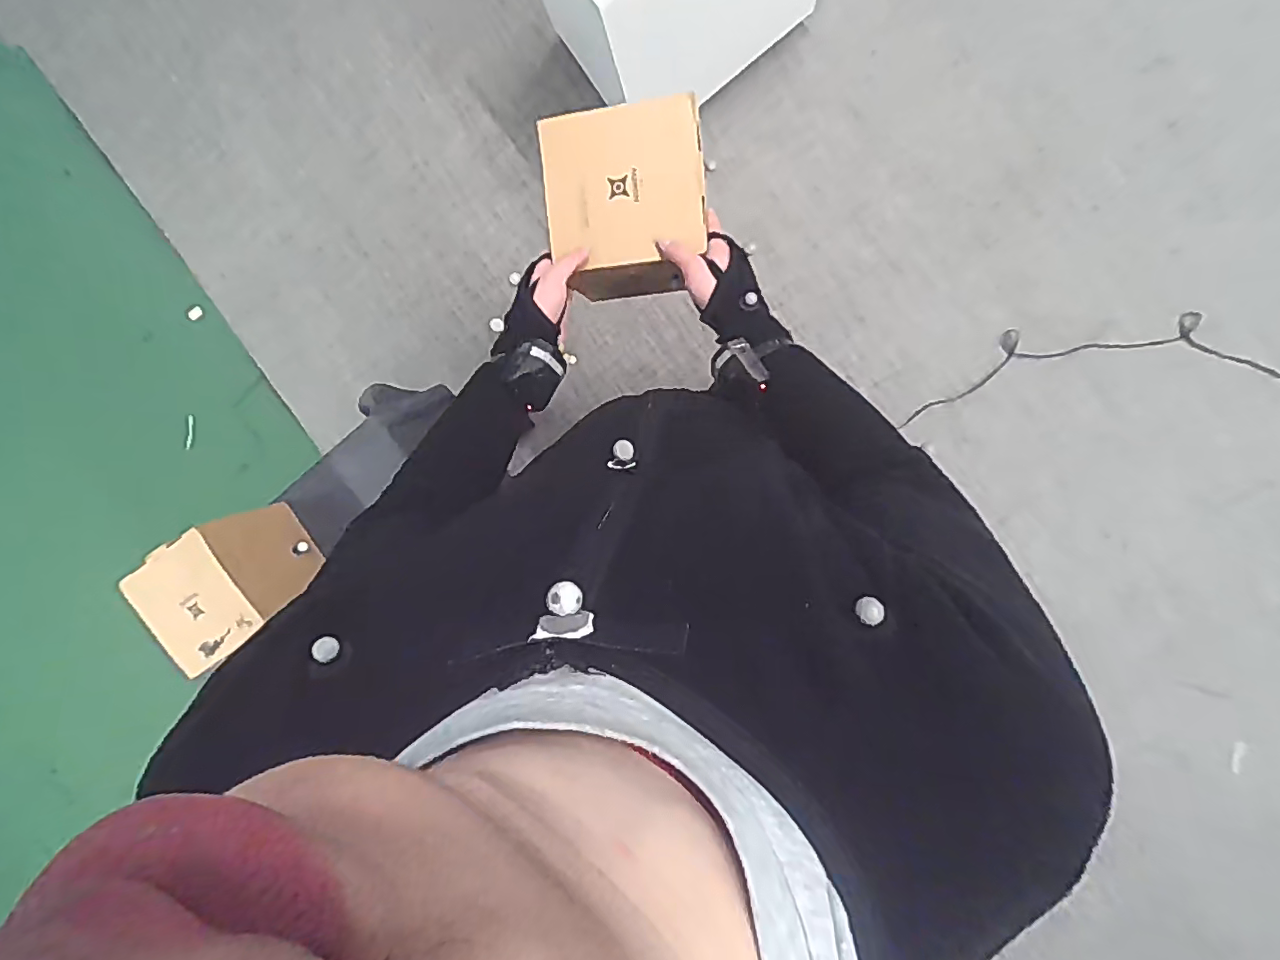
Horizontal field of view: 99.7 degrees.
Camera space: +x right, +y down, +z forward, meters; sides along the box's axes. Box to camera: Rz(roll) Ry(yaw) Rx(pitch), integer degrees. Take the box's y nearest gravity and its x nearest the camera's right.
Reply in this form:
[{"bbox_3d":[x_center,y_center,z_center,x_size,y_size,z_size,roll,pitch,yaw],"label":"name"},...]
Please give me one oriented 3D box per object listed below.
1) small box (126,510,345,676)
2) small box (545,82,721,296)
[{"bbox_3d":[-0.614,0.161,0.842,0.168,0.176,0.179,-32,95,11],"label":"small box"},{"bbox_3d":[0.003,-0.328,0.649,0.179,0.176,0.168,-5,97,10],"label":"small box"}]
